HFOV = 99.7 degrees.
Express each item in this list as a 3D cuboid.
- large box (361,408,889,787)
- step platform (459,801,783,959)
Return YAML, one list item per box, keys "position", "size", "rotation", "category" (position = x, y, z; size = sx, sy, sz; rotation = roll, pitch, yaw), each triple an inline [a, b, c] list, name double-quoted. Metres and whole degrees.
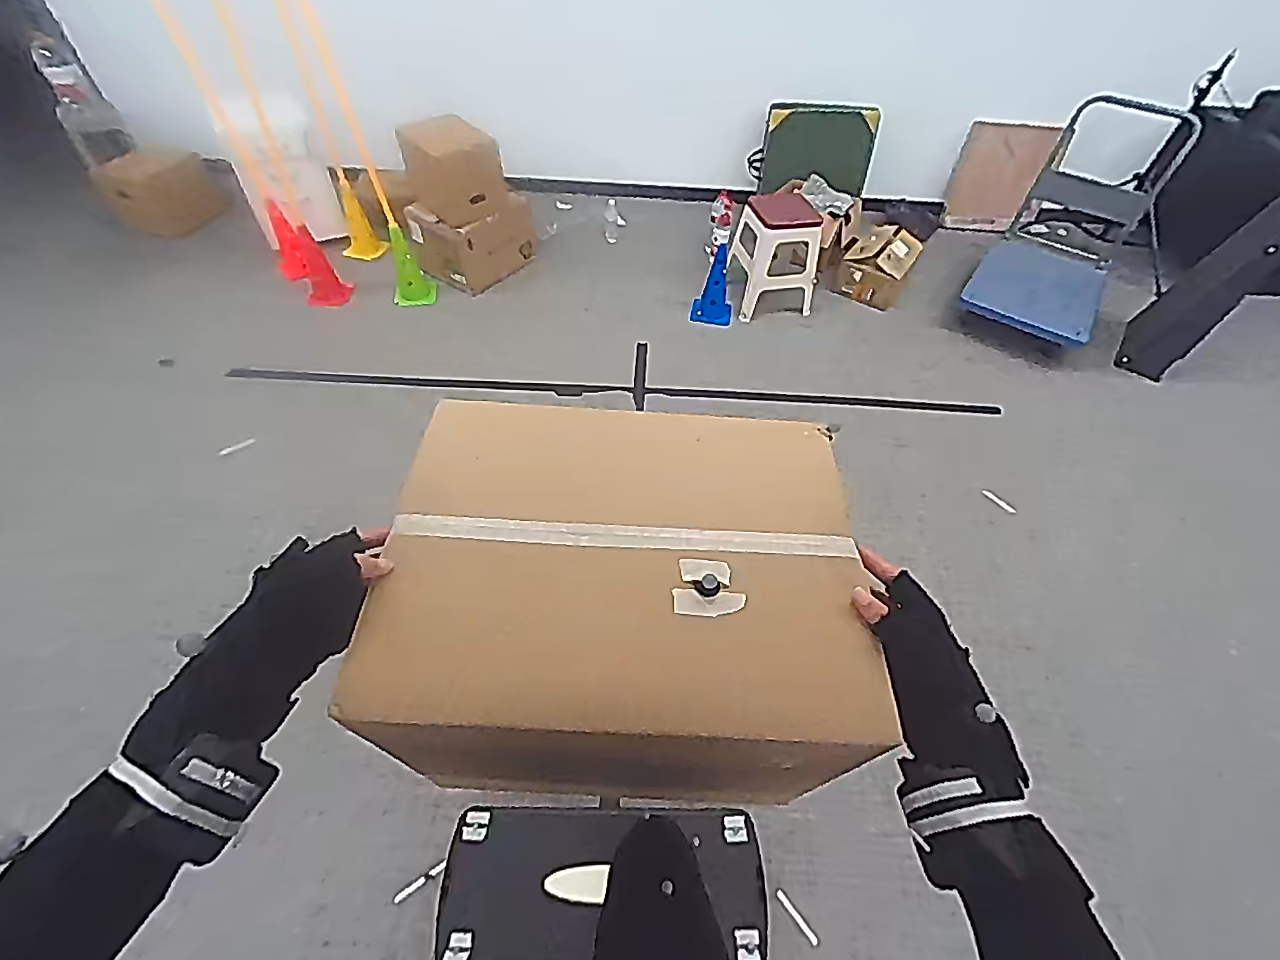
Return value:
- position: [-0.016, 0.144, 0.607]
  size: [0.408, 0.320, 0.320]
  rotation: [4, 53, -2]
  category: "large box"
- position: [-0.038, 0.881, 1.193]
  size: [0.684, 0.204, 0.286]
  rotation: [2, 51, -3]
  category: "step platform"
